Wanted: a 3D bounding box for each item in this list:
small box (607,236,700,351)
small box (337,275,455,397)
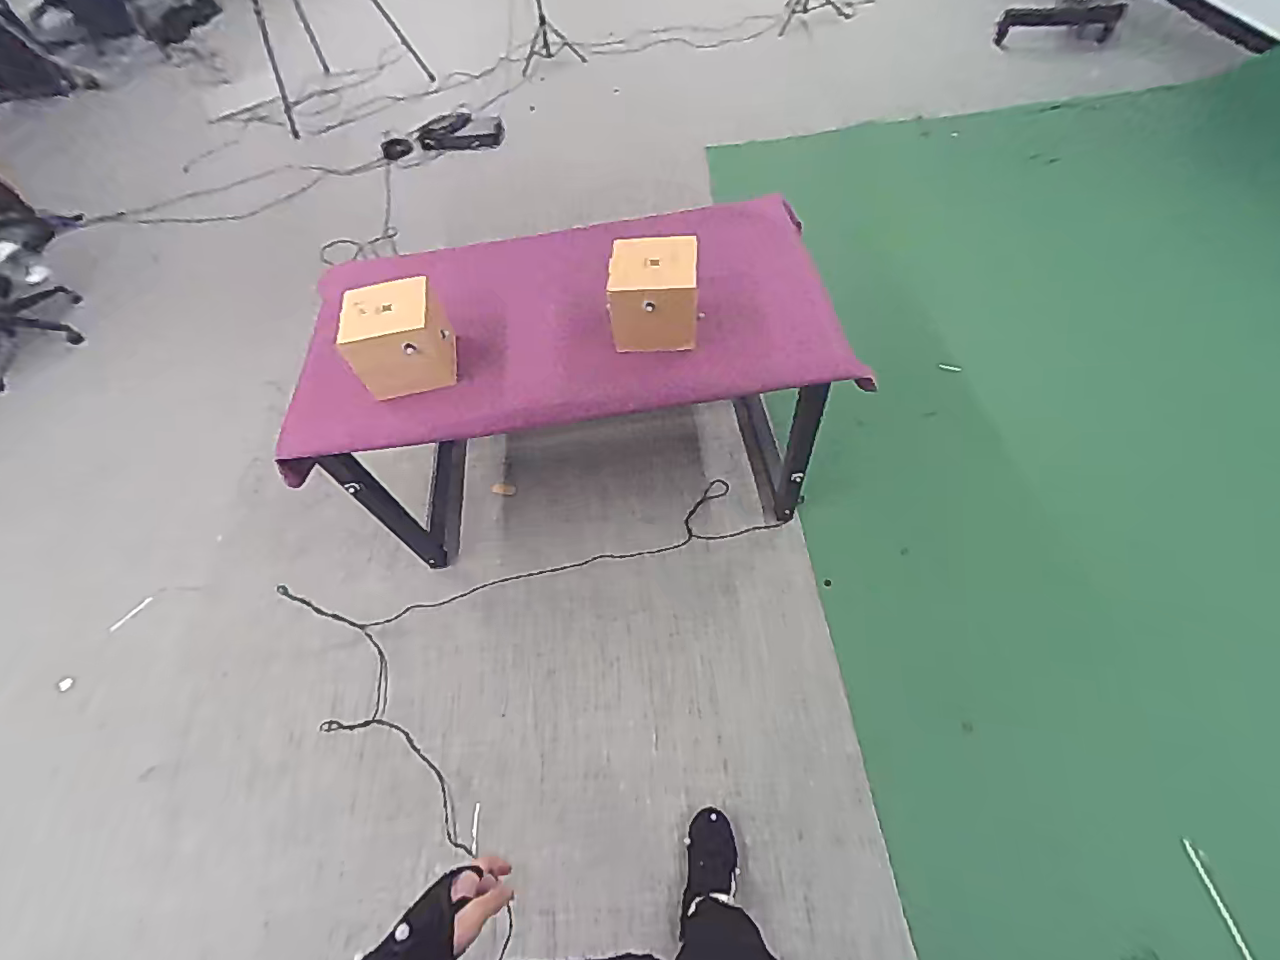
[{"bbox_3d":[0.036,-0.388,1.141,0.179,0.176,0.168,1,58,7],"label":"small box"},{"bbox_3d":[-0.503,-0.300,1.145,0.179,0.176,0.168,-12,57,-1],"label":"small box"}]
